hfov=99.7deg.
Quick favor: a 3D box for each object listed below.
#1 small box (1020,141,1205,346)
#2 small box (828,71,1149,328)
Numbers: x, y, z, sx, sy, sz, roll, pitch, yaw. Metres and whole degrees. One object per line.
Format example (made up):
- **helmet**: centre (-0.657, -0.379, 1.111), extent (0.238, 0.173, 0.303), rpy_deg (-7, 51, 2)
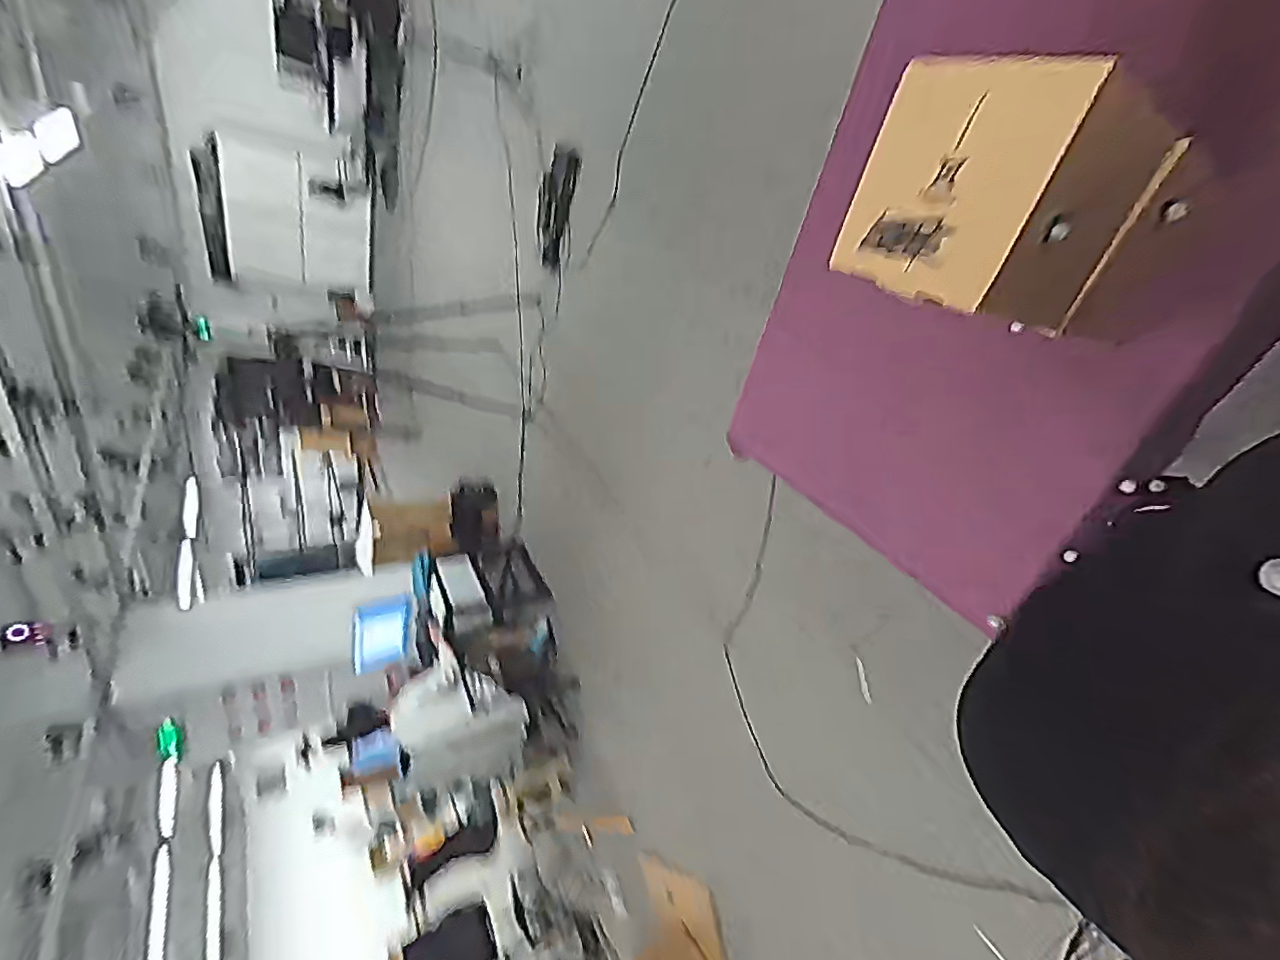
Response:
- **small box**: centre (0.464, -0.264, 0.601), extent (0.168, 0.176, 0.179), rpy_deg (50, 133, 42)
- **small box**: centre (0.324, -0.257, 0.515), extent (0.168, 0.176, 0.179), rpy_deg (46, 129, 43)
